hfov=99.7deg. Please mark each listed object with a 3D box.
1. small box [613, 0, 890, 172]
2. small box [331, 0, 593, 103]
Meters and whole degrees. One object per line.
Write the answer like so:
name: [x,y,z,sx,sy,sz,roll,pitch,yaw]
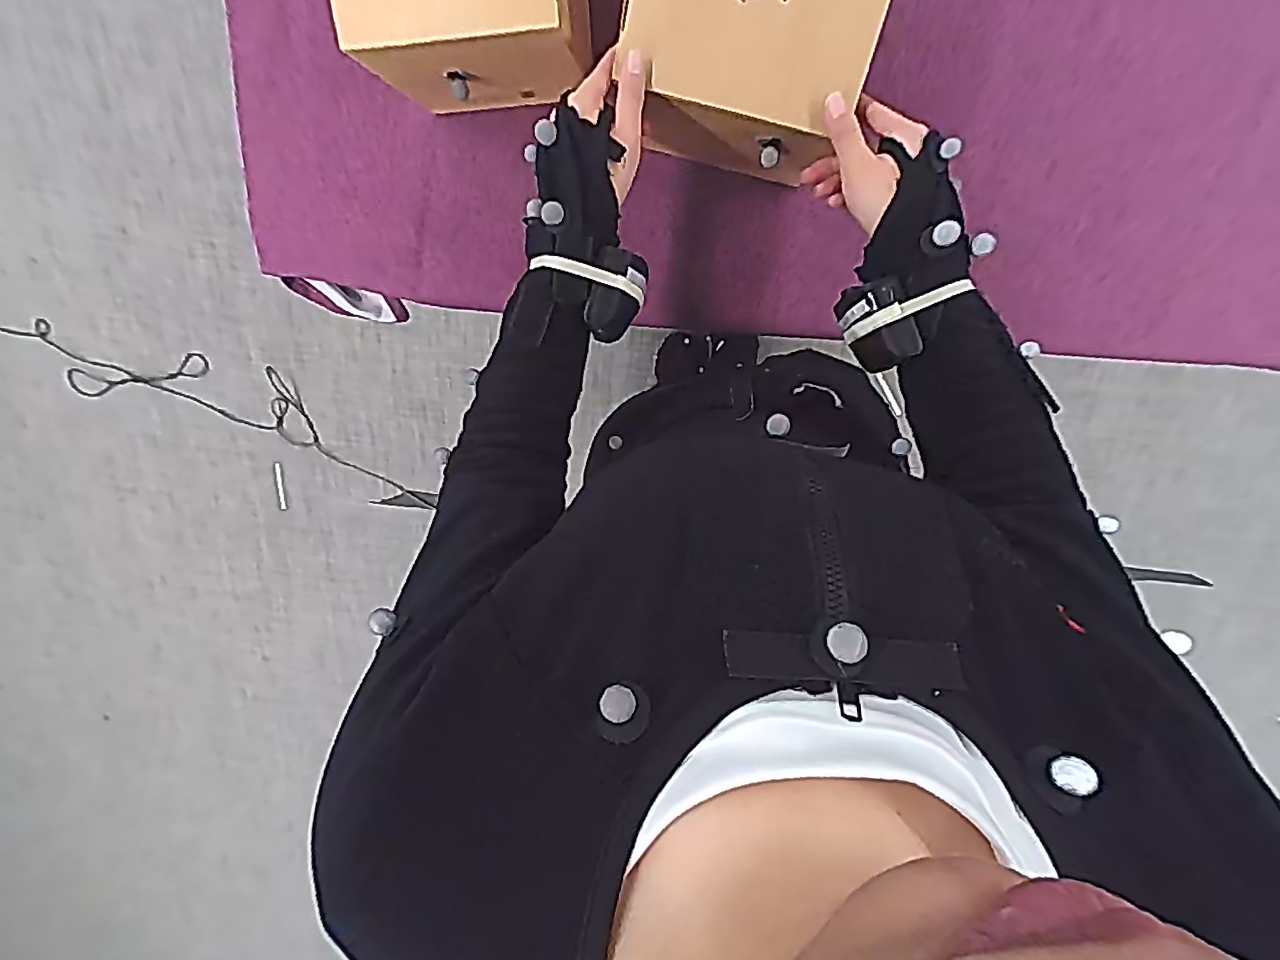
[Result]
small box: [0.089,-0.368,0.434,0.179,0.176,0.168,14,108,0]
small box: [-0.136,-0.428,0.433,0.168,0.176,0.179,-2,109,6]
